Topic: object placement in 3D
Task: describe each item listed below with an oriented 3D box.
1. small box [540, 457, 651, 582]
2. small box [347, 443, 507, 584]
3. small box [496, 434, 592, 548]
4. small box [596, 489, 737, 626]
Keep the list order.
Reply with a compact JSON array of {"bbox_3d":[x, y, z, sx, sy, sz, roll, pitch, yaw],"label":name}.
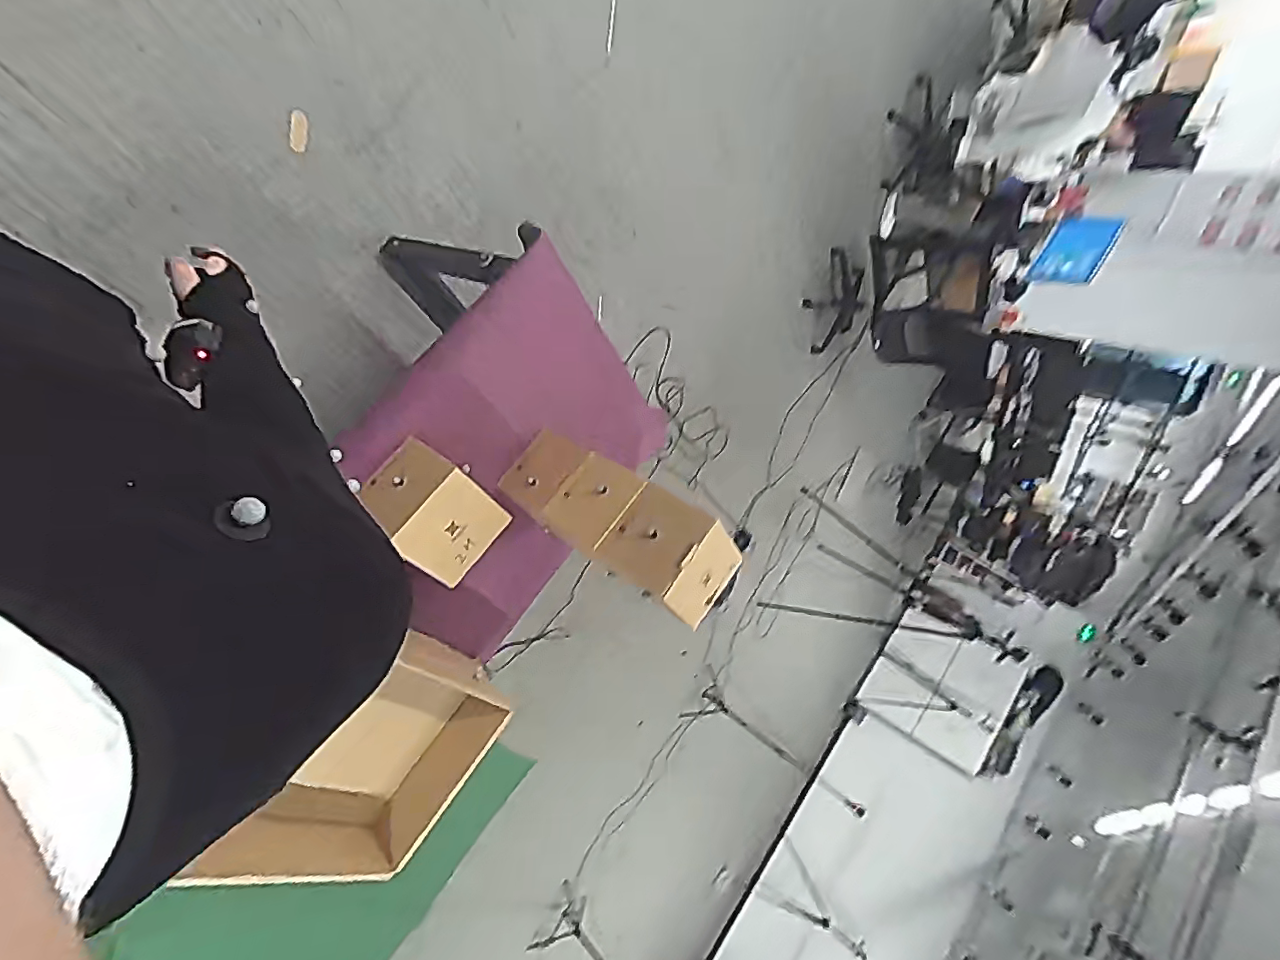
[{"bbox_3d":[-0.070,0.073,1.099,0.168,0.176,0.179,-52,142,-14],"label":"small box"},{"bbox_3d":[-0.384,0.052,0.977,0.168,0.176,0.179,-51,142,-15],"label":"small box"},{"bbox_3d":[-0.183,0.017,1.200,0.168,0.176,0.179,-51,142,-14],"label":"small box"},{"bbox_3d":[0.048,0.136,1.004,0.168,0.176,0.179,-52,141,-13],"label":"small box"}]
